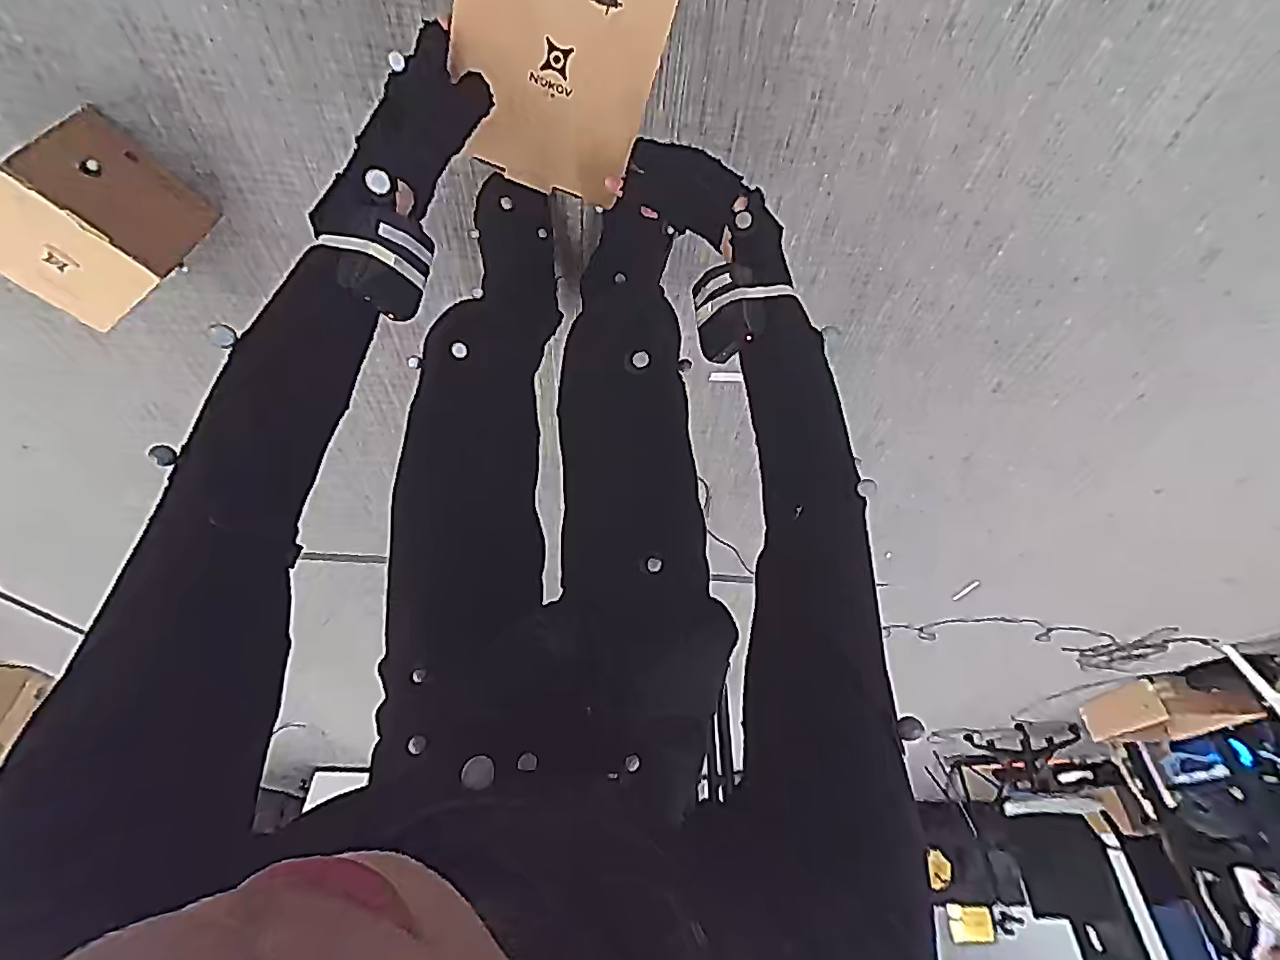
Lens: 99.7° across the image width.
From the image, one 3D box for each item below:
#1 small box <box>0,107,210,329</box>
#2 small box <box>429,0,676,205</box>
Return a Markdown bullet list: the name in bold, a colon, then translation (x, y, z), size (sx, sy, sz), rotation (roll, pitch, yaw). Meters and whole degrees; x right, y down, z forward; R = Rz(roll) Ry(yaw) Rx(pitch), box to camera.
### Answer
- **small box**: translation (-0.722, -0.343, 0.715), size (0.179, 0.176, 0.168), rotation (-19, 139, 26)
- **small box**: translation (-0.082, -0.391, 0.494), size (0.168, 0.176, 0.179), rotation (12, 129, -19)
